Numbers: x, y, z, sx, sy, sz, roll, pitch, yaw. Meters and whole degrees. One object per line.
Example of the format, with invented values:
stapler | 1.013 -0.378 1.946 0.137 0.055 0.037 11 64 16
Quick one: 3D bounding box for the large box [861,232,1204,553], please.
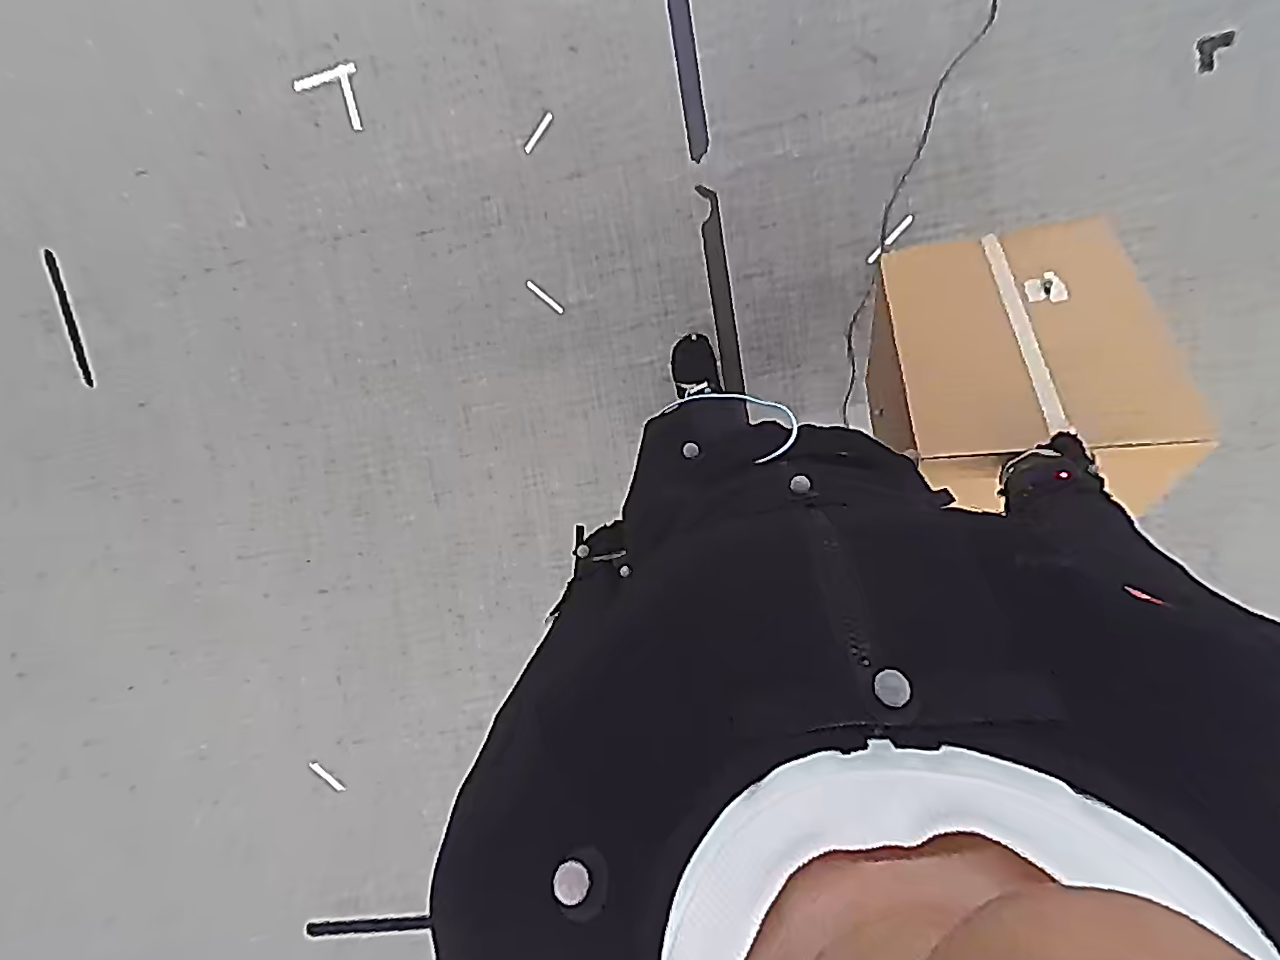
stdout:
large box | 0.563 -0.128 0.889 0.320 0.320 0.408 -3 57 14
